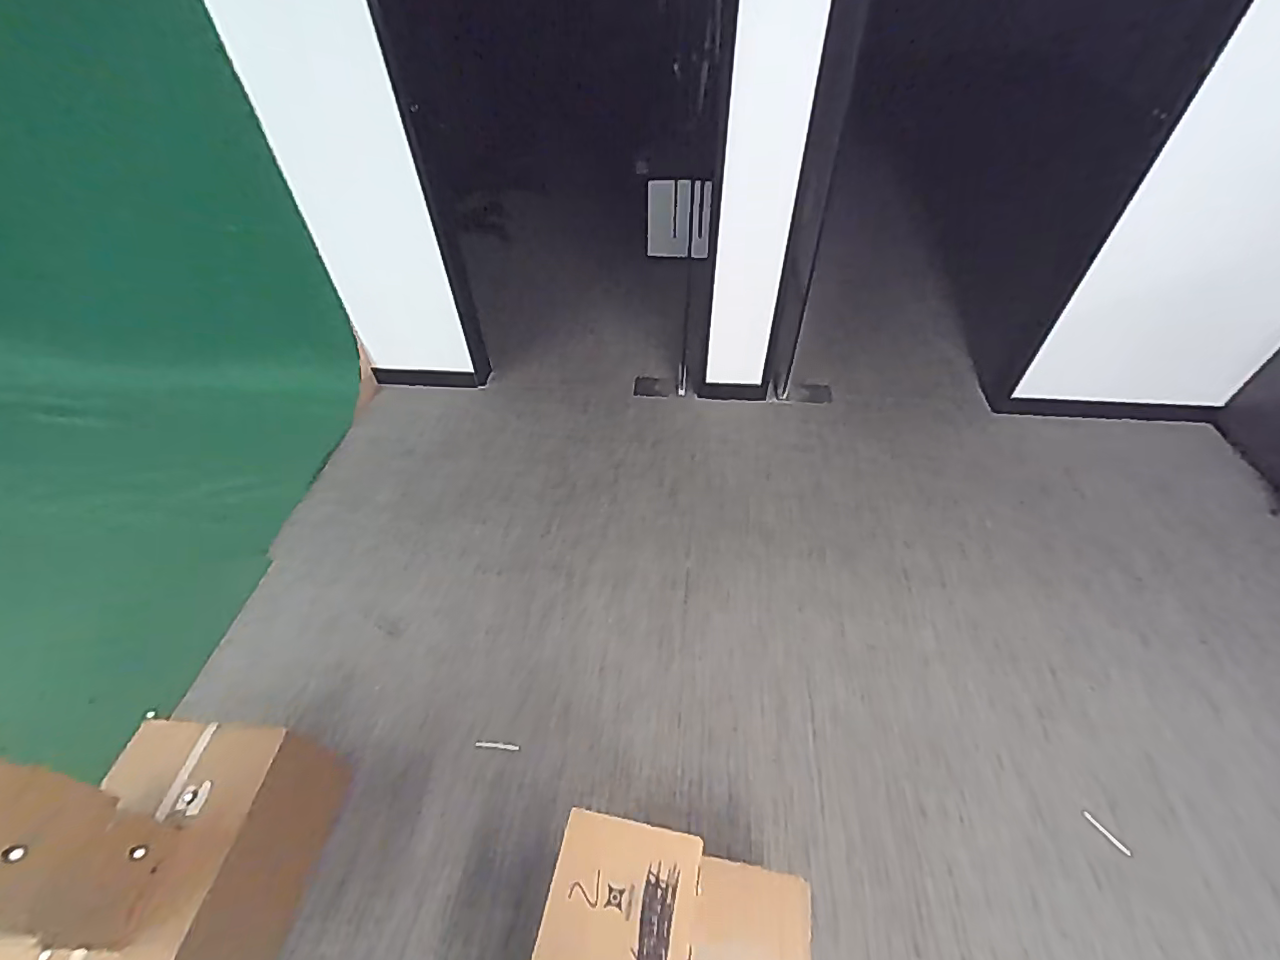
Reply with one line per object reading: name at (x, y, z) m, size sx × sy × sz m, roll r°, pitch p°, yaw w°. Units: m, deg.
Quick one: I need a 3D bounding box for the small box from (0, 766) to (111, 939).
small box at (-0.907, 0.513, 0.743) m, size 0.168 × 0.176 × 0.179 m, roll -1°, pitch 46°, yaw 0°

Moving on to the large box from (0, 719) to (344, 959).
large box at (-0.881, 0.748, 1.081) m, size 0.320 × 0.320 × 0.408 m, roll 3°, pitch 46°, yaw 3°

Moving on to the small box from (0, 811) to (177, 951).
small box at (-0.906, 0.631, 0.857) m, size 0.179 × 0.176 × 0.168 m, roll 1°, pitch 46°, yaw 3°
